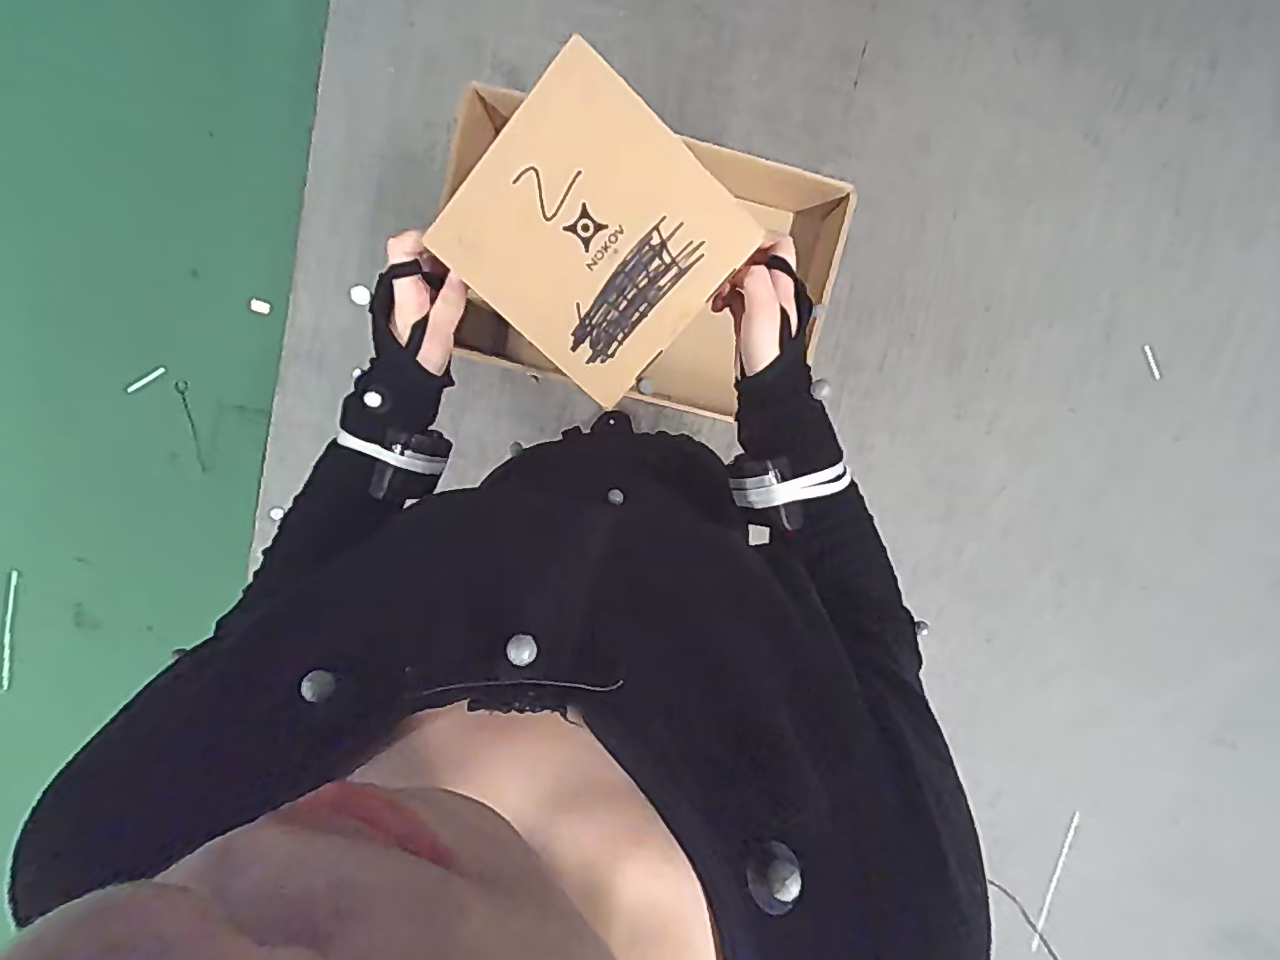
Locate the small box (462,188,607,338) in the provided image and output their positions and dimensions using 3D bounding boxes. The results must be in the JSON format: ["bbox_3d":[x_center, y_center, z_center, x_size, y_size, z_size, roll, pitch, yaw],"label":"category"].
[{"bbox_3d":[-0.163,-0.342,0.887,0.179,0.176,0.168,16,98,-1],"label":"small box"}]
